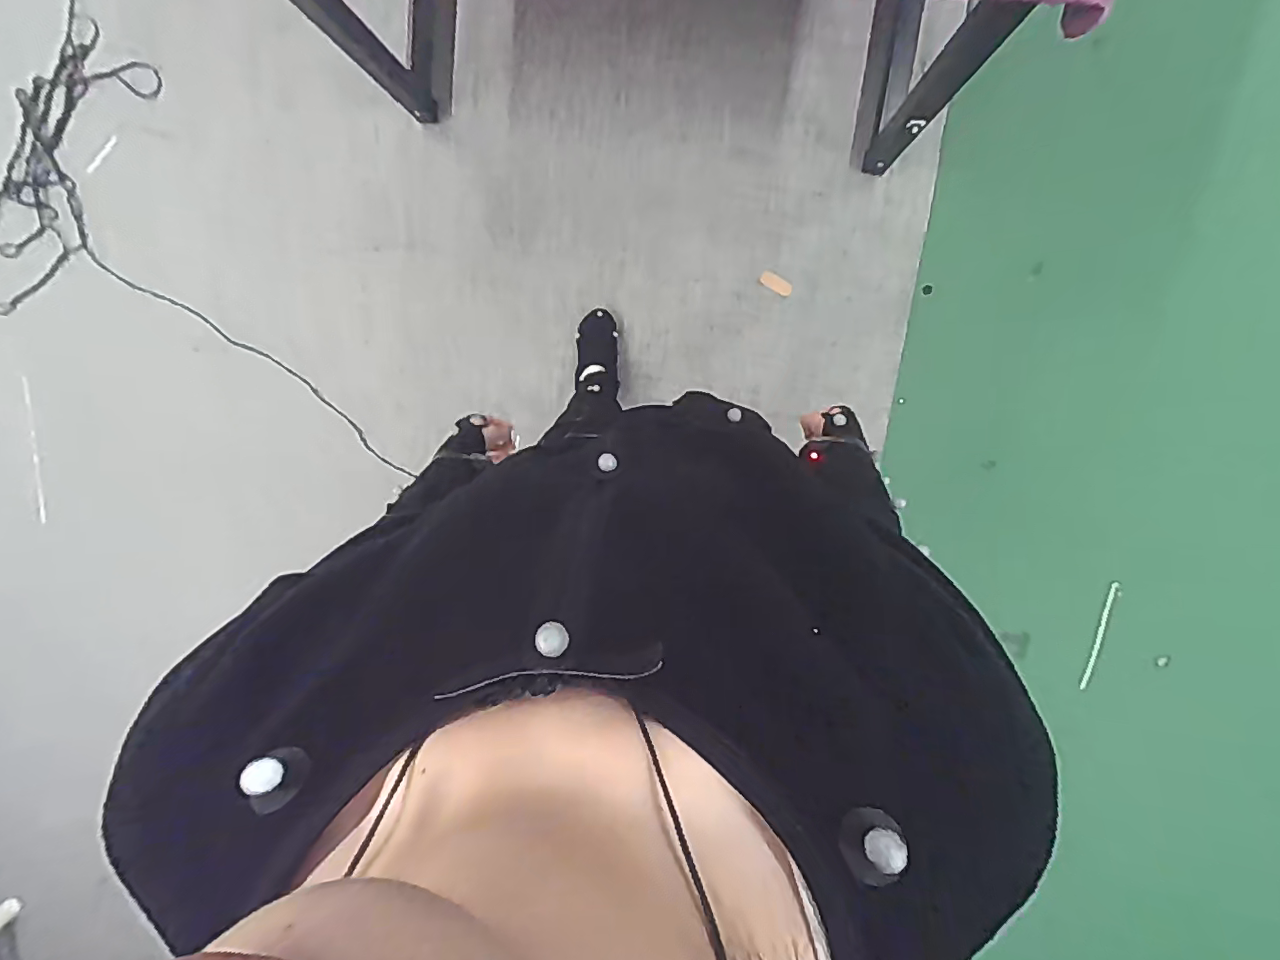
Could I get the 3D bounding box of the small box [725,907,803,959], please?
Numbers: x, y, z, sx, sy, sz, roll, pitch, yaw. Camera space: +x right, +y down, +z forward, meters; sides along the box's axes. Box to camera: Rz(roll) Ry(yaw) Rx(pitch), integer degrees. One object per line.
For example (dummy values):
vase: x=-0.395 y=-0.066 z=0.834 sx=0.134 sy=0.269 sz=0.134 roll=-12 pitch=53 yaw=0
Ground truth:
small box: x=0.299 y=1.166 z=1.291 sx=0.179 sy=0.176 sz=0.168 roll=-3 pitch=98 yaw=6
